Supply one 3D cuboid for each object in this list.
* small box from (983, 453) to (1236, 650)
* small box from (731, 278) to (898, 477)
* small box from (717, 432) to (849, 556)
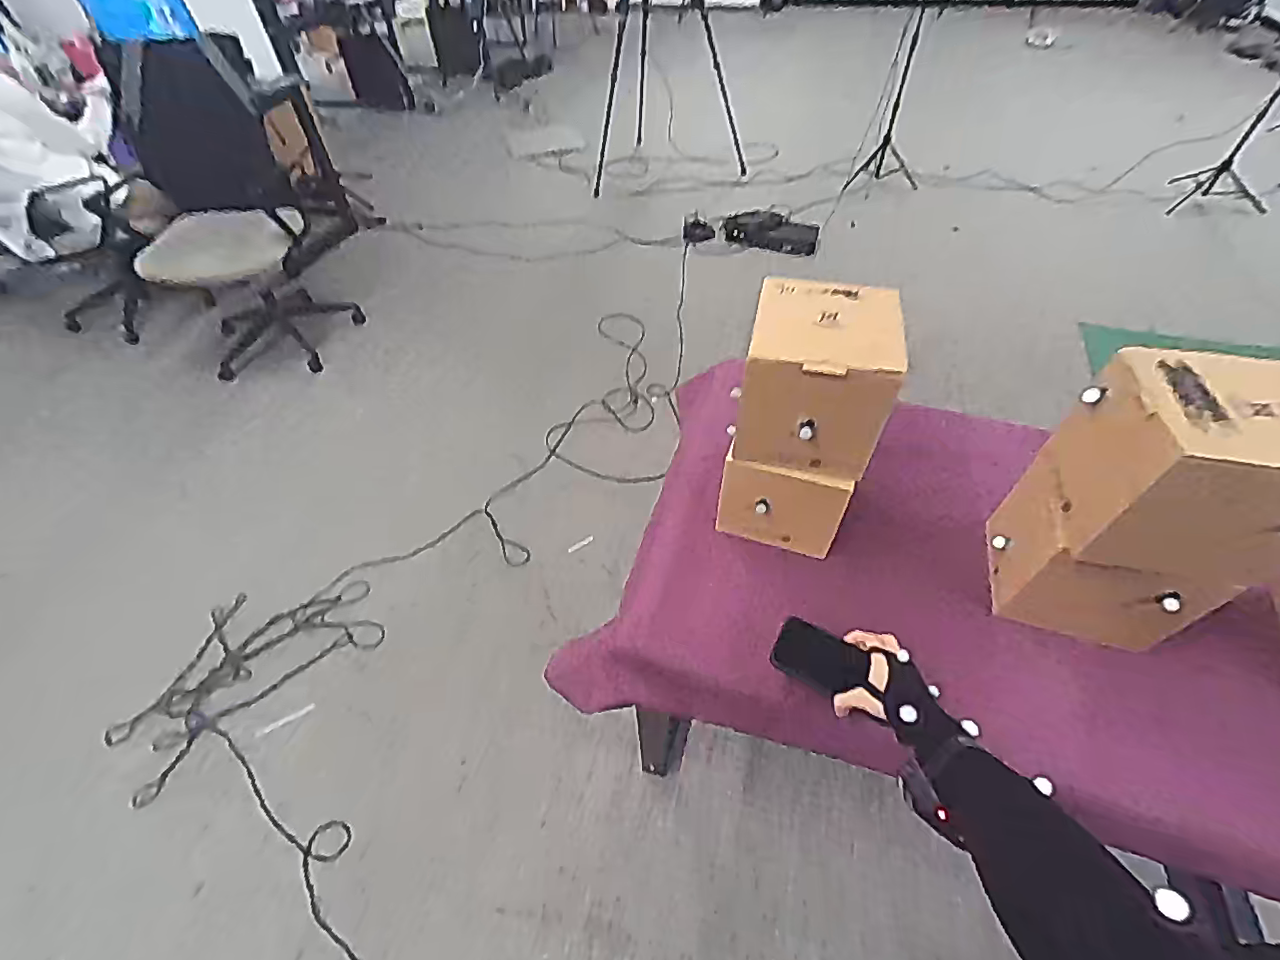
[{"bbox_3d":[0.575,0.096,0.694,0.179,0.176,0.168,15,51,14],"label":"small box"},{"bbox_3d":[0.214,-0.127,0.684,0.168,0.176,0.179,11,51,11],"label":"small box"},{"bbox_3d":[0.216,-0.014,0.804,0.168,0.176,0.179,15,51,15],"label":"small box"}]
